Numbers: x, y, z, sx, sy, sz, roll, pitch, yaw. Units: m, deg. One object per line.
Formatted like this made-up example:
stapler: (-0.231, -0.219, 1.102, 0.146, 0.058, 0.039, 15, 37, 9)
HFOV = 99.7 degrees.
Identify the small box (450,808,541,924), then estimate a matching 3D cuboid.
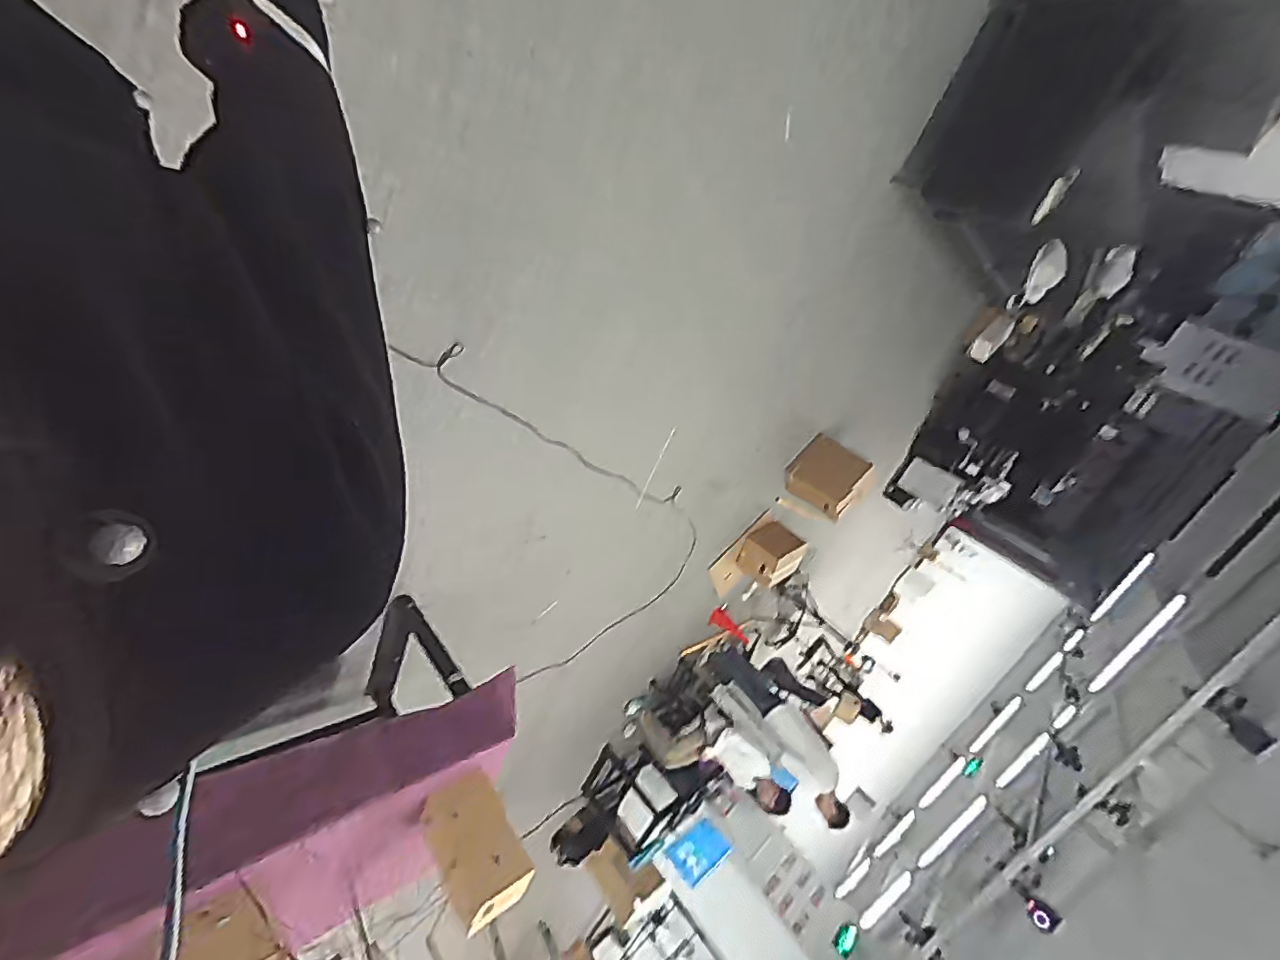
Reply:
small box: (-0.415, 1.086, 1.534, 0.179, 0.176, 0.168, -7, 128, -47)

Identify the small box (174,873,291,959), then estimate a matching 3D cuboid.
small box: (-0.900, 1.025, 1.190, 0.168, 0.176, 0.179, -2, 124, -51)
